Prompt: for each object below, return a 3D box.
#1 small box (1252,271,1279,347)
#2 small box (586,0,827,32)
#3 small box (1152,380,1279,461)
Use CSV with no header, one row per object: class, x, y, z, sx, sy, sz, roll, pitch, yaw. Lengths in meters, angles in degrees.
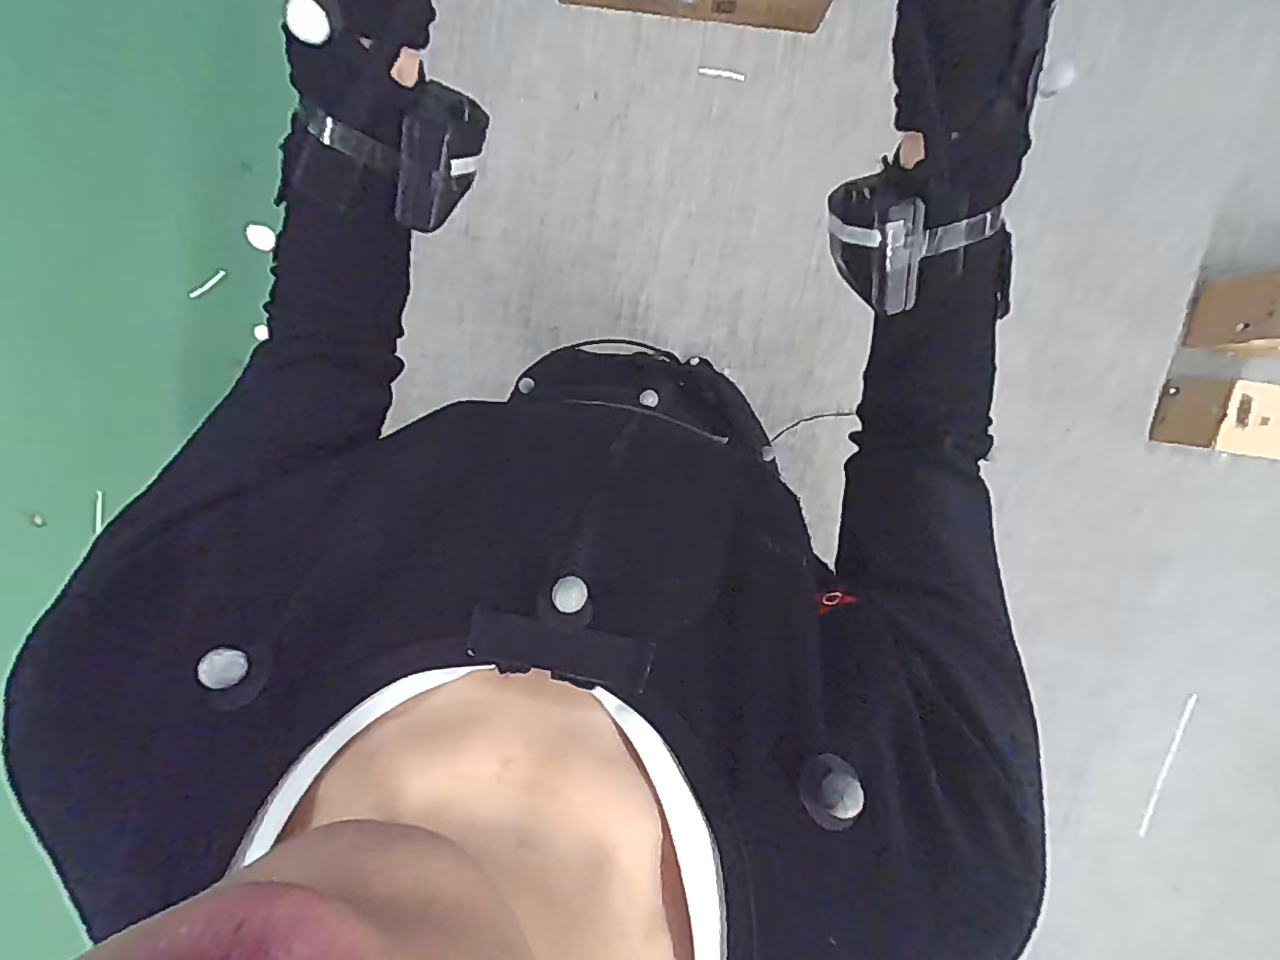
small box,1.458,-0.358,1.113,0.179,0.176,0.168,9,101,-1
small box,0.039,-0.353,0.240,0.168,0.176,0.179,8,106,0
small box,1.422,-0.149,1.318,0.179,0.176,0.168,8,101,-1
